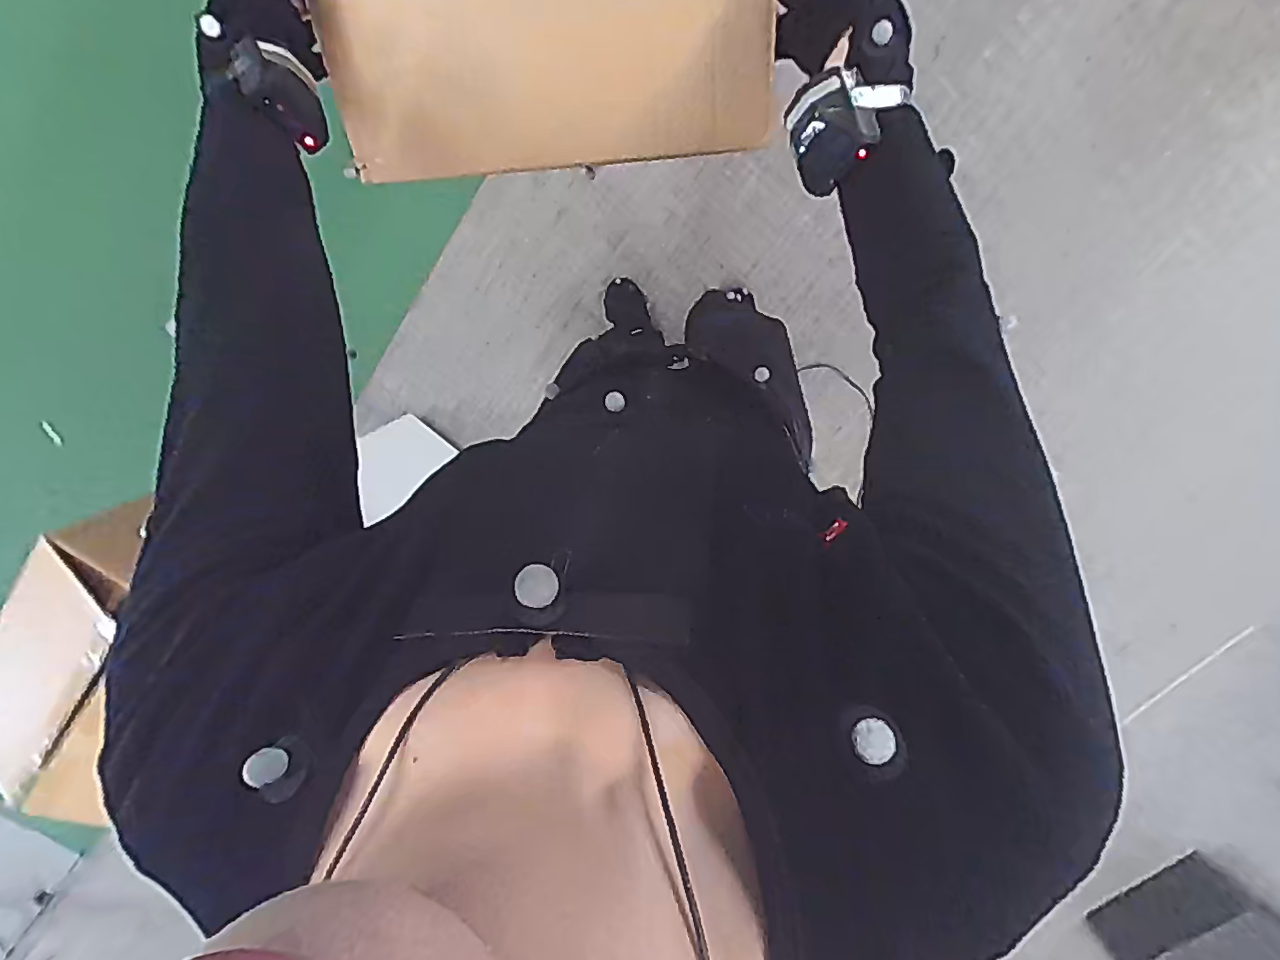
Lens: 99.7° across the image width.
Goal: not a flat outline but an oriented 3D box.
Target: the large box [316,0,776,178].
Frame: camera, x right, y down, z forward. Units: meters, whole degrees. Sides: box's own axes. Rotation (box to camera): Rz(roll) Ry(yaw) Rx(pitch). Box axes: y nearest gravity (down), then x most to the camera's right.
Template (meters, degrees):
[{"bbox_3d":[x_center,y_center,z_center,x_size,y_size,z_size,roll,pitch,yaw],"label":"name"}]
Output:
[{"bbox_3d":[-0.071,-0.517,0.564,0.408,0.320,0.320,0,121,9],"label":"large box"}]
